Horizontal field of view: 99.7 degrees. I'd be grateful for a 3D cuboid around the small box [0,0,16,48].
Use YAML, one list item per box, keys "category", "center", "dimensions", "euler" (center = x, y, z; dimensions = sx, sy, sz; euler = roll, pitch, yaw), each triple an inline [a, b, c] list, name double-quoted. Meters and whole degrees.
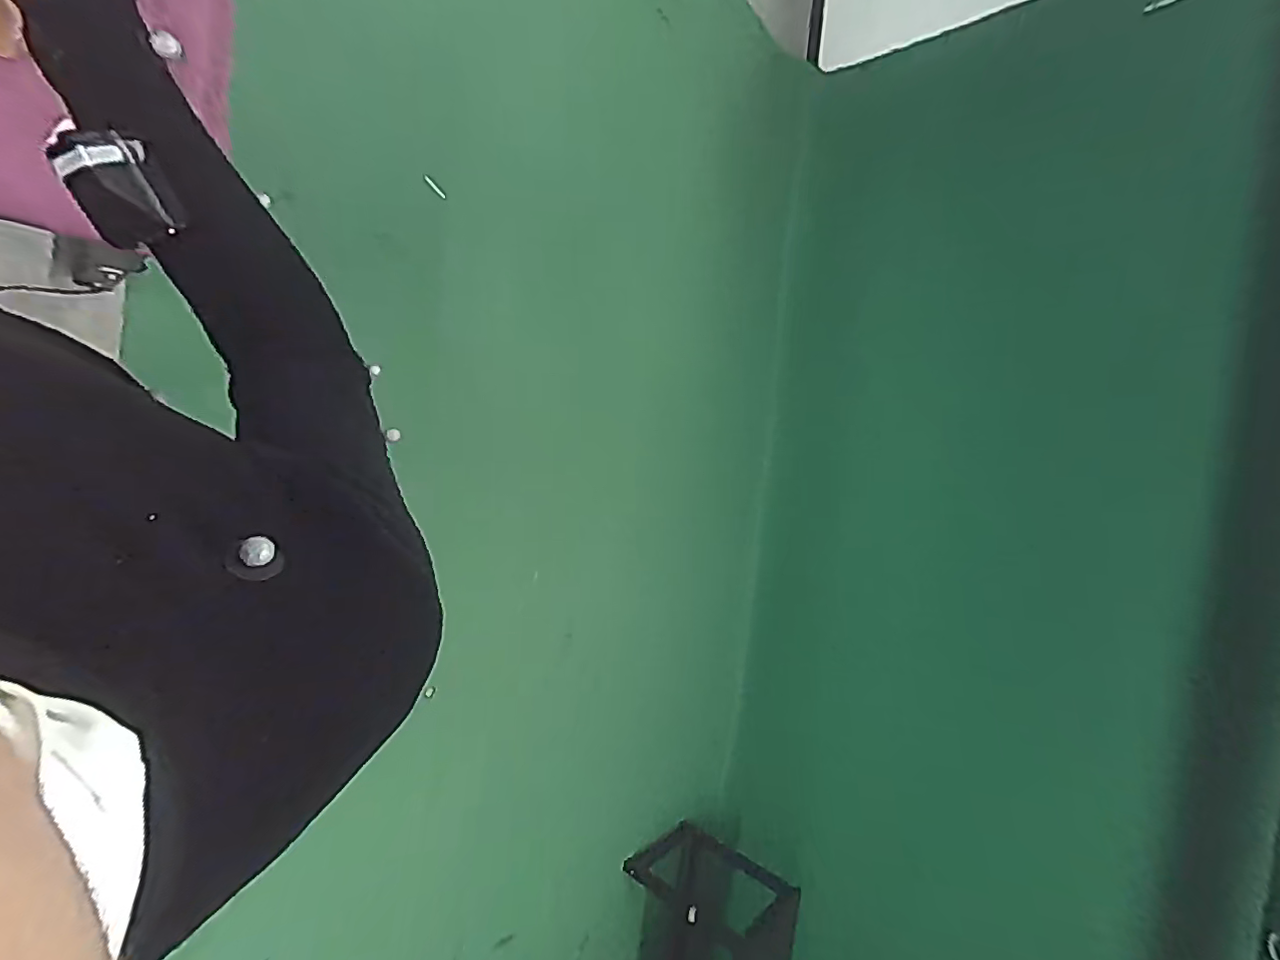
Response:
- category: "small box"
  center: [-0.660, -0.536, 0.463]
  dimensions: [0.168, 0.176, 0.179]
  euler: [1, 95, -49]
